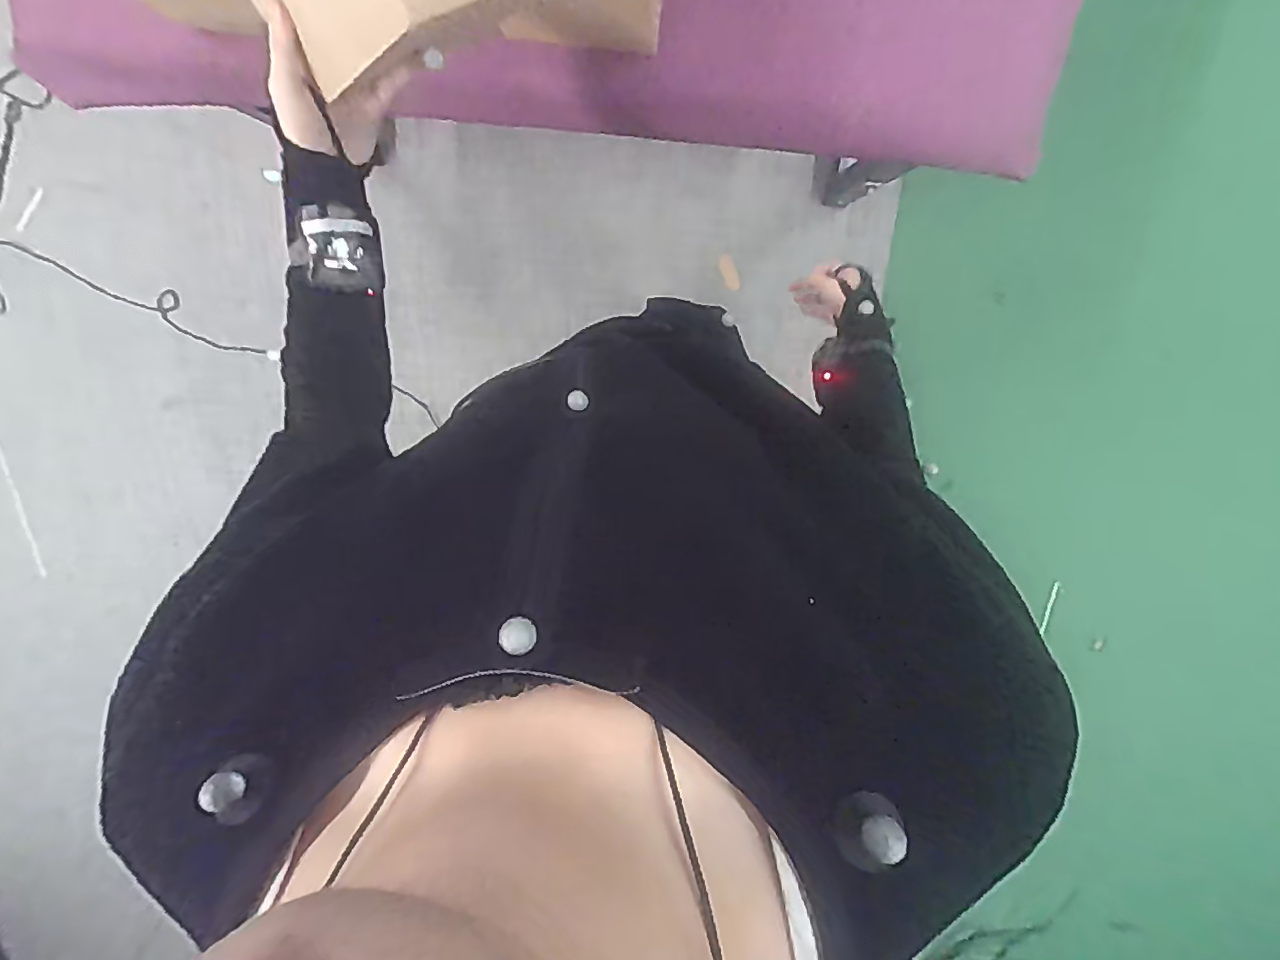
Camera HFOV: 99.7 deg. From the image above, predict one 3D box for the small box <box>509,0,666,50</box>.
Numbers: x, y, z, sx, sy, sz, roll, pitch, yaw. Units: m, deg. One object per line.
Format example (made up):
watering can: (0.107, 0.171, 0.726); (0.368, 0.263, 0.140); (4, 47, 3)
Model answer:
small box: (-0.057, -0.545, 0.510); (0.179, 0.176, 0.168); (7, 107, 0)

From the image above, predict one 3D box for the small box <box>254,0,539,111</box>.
small box: (-0.165, -0.378, 0.347); (0.176, 0.179, 0.168); (-48, 130, -23)
